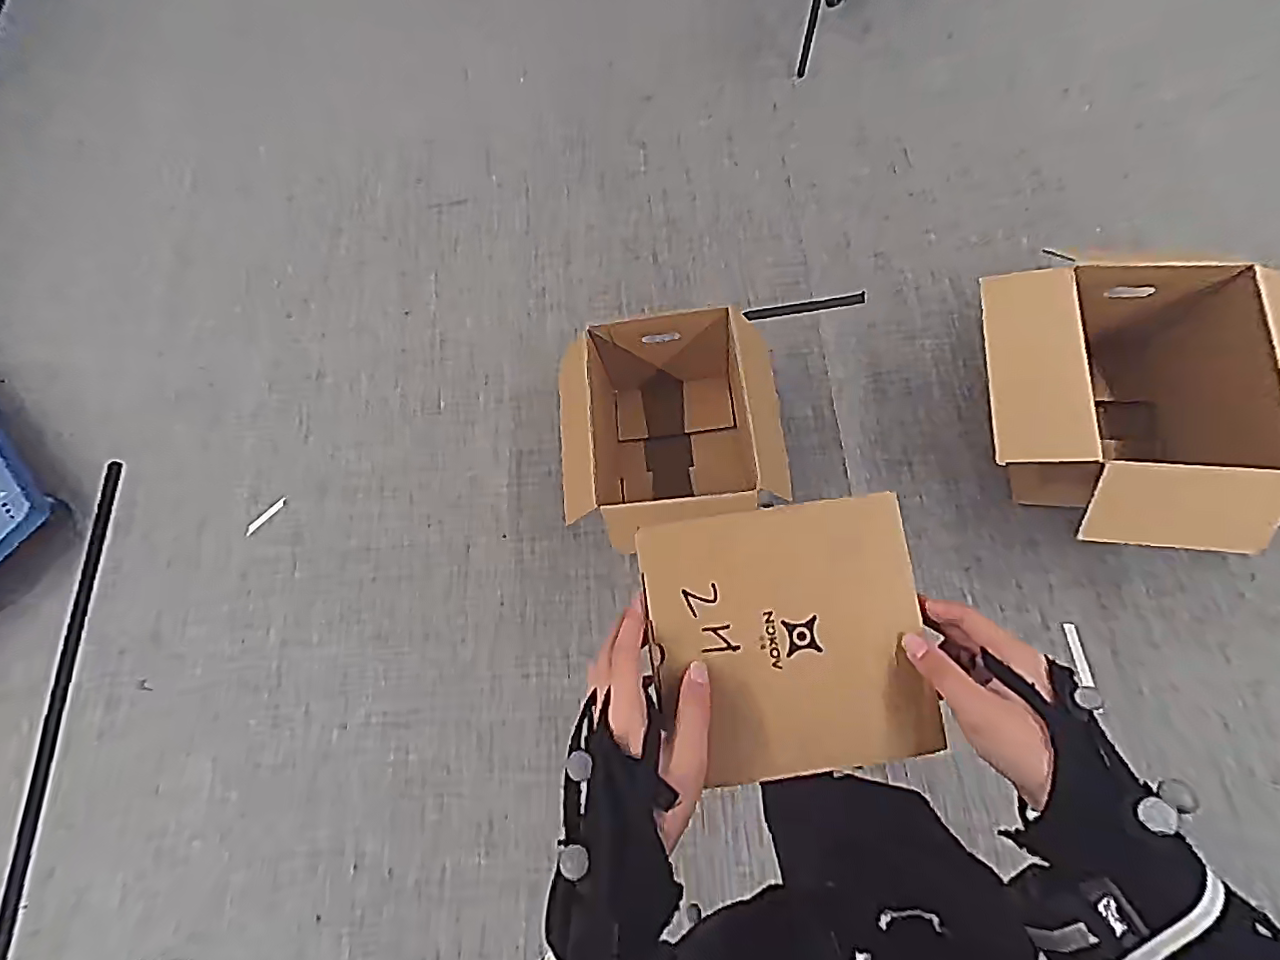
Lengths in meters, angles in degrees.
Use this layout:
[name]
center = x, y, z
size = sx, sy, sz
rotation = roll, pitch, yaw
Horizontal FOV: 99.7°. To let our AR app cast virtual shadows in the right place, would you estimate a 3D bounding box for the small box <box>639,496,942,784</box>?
[small box]
center = 0.095, 0.108, 0.425
size = 0.179, 0.176, 0.168
rotation = -7, 82, -1
